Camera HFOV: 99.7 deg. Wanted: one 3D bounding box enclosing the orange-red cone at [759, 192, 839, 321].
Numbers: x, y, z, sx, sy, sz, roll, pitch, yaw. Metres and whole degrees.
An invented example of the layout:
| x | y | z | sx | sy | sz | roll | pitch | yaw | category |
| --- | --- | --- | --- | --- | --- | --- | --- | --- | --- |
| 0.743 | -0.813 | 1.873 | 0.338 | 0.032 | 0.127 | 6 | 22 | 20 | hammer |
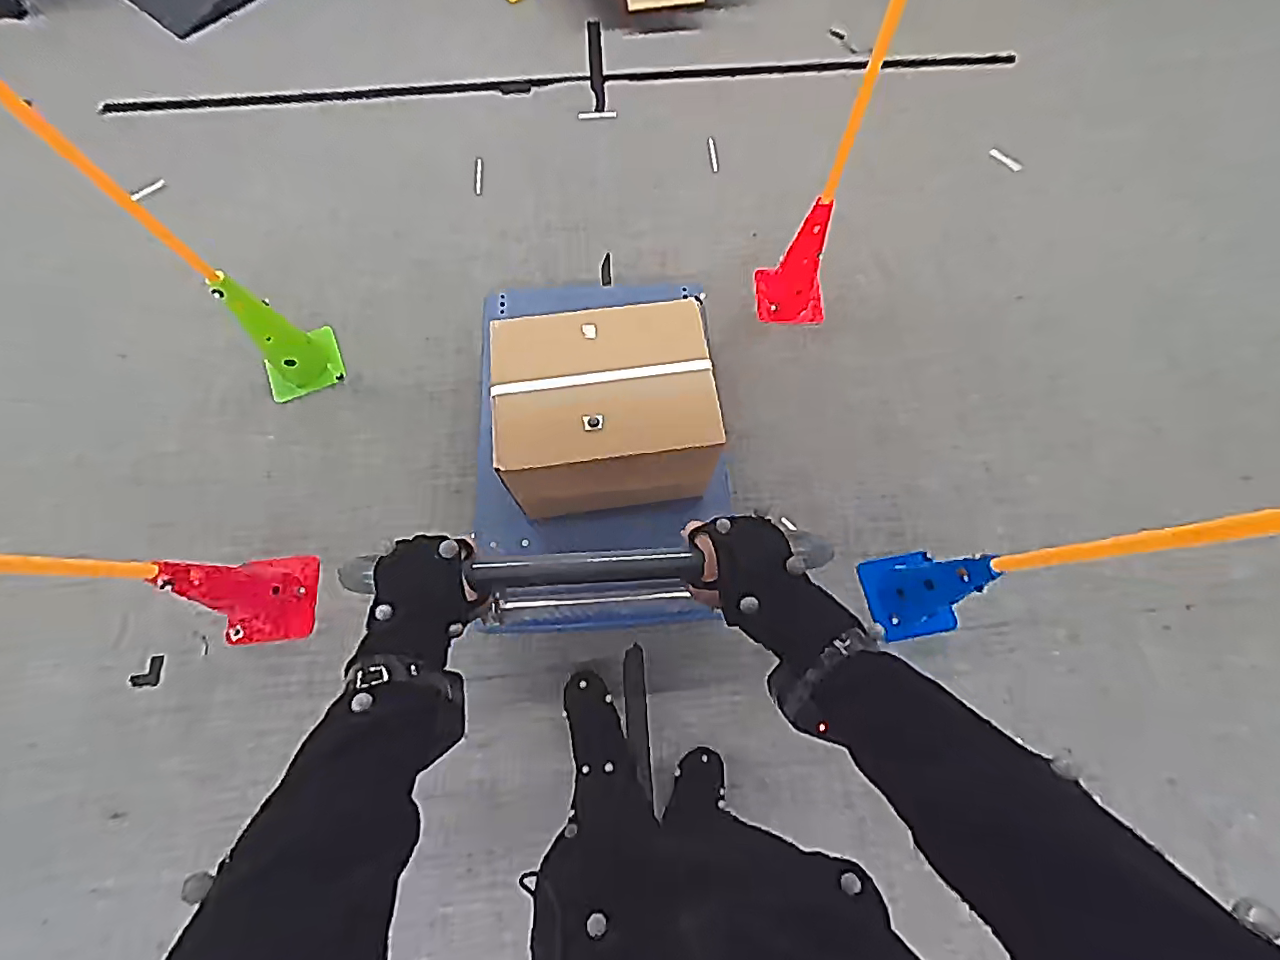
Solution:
| x | y | z | sx | sy | sz | roll | pitch | yaw | category |
| --- | --- | --- | --- | --- | --- | --- | --- | --- | --- |
| 0.464 | -0.625 | 1.474 | 0.199 | 0.360 | 0.198 | 2 | 70 | -1 | orange-red cone |

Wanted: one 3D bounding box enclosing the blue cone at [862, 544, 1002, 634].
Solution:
| x | y | z | sx | sy | sz | roll | pitch | yaw | category |
| --- | --- | --- | --- | --- | --- | --- | --- | --- | --- |
| 0.662 | 0.214 | 1.180 | 0.193 | 0.380 | 0.192 | -8 | 69 | -4 | blue cone |
